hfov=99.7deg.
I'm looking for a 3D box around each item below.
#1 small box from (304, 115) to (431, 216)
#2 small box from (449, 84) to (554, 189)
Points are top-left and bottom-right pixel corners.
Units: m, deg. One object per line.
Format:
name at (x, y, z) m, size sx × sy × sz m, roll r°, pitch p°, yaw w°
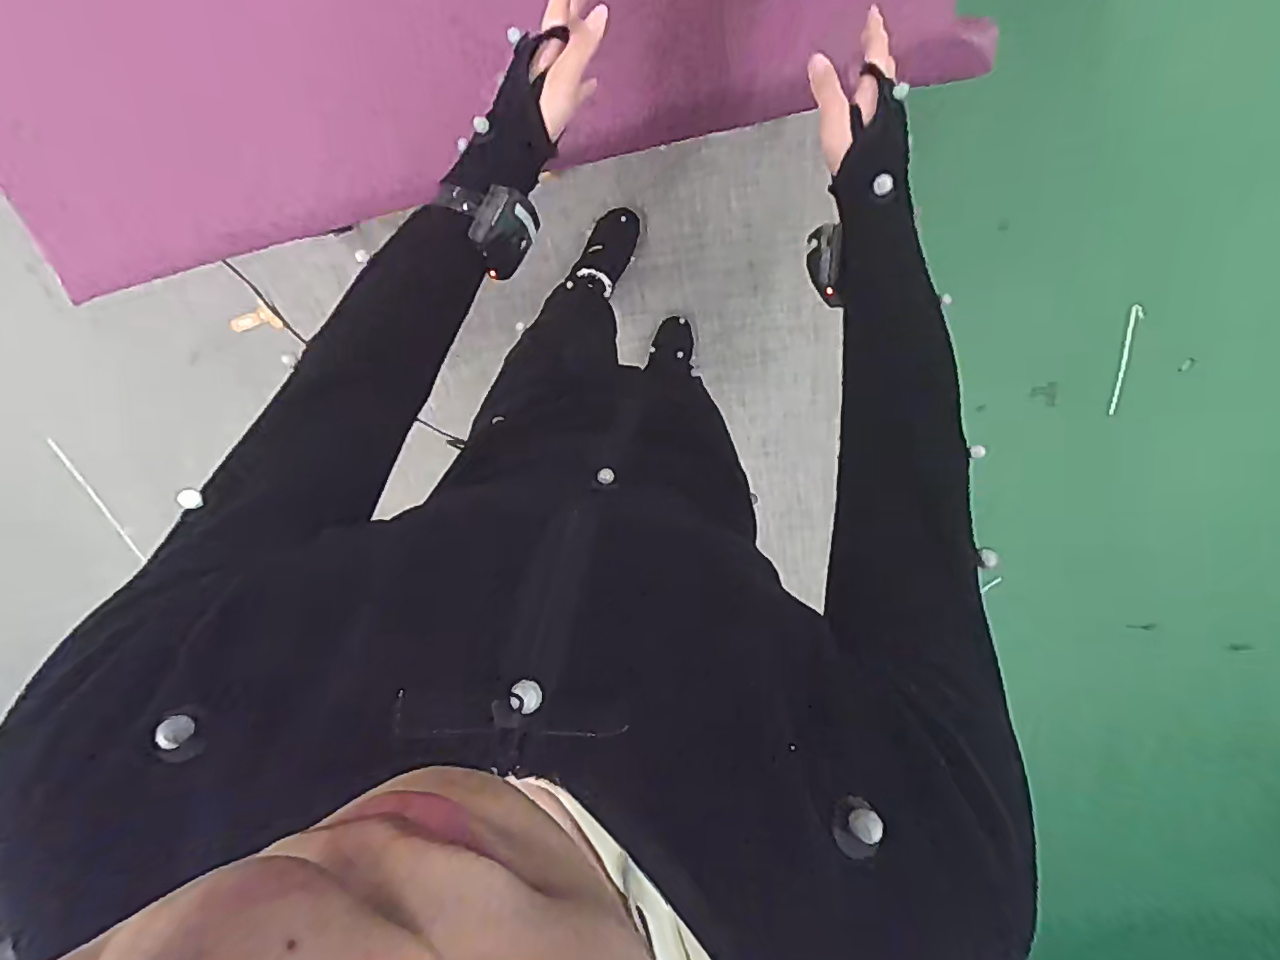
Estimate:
small box at (-0.620, -0.719, 1.254) m, size 0.179 × 0.176 × 0.168 m, roll -11°, pitch 117°, yaw 6°
small box at (-0.300, -0.768, 1.223) m, size 0.179 × 0.176 × 0.168 m, roll -10°, pitch 116°, yaw 6°
